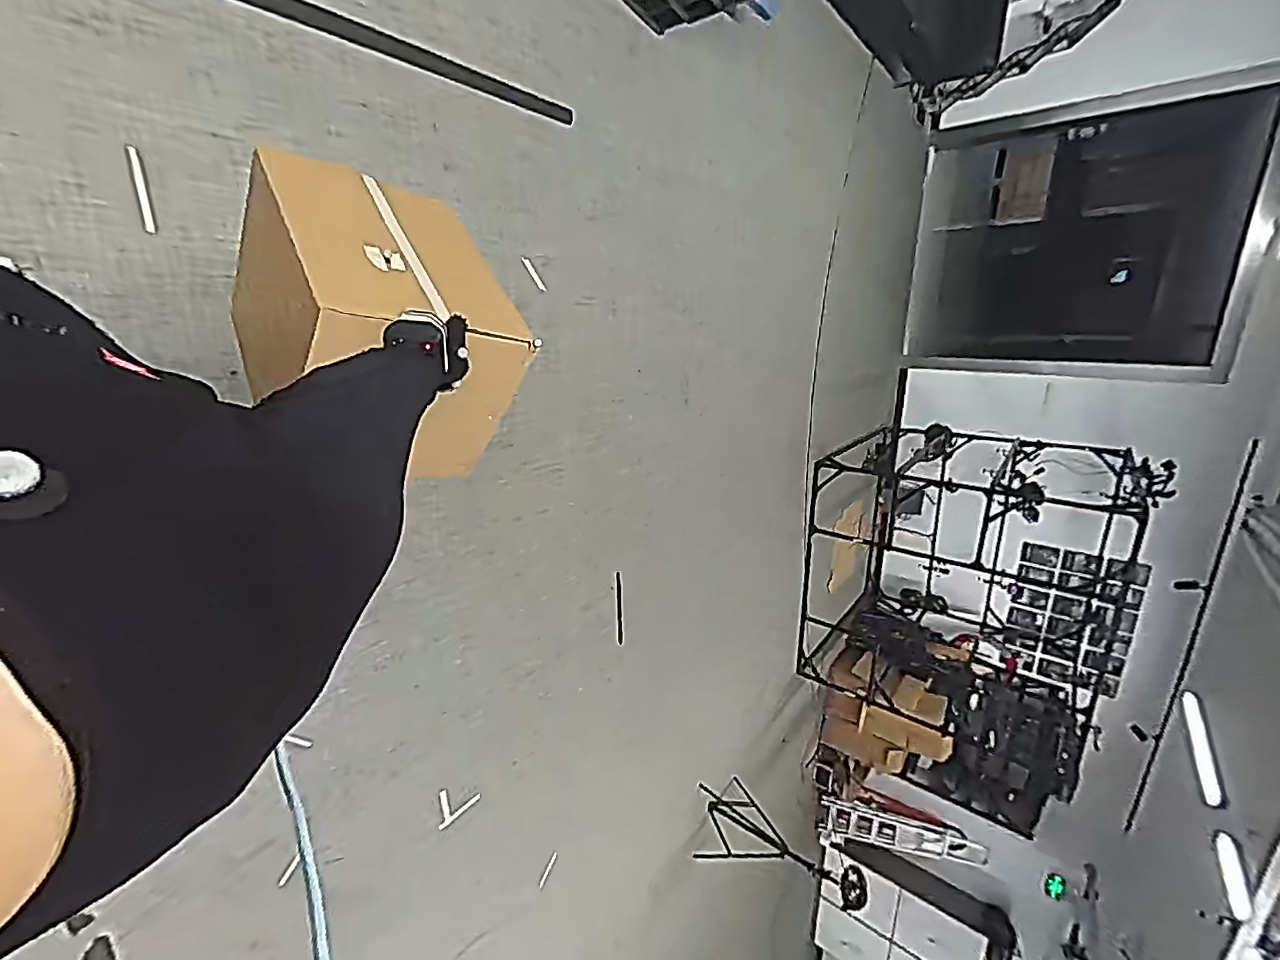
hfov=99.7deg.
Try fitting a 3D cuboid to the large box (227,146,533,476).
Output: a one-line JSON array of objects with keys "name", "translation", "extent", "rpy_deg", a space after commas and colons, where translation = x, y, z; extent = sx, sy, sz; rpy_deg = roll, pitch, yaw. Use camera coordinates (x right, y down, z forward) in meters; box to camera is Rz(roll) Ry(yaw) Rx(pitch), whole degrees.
[{"name": "large box", "translation": [-0.454, -0.258, 0.916], "extent": [0.320, 0.408, 0.320], "rpy_deg": [-4, 143, -47]}]
